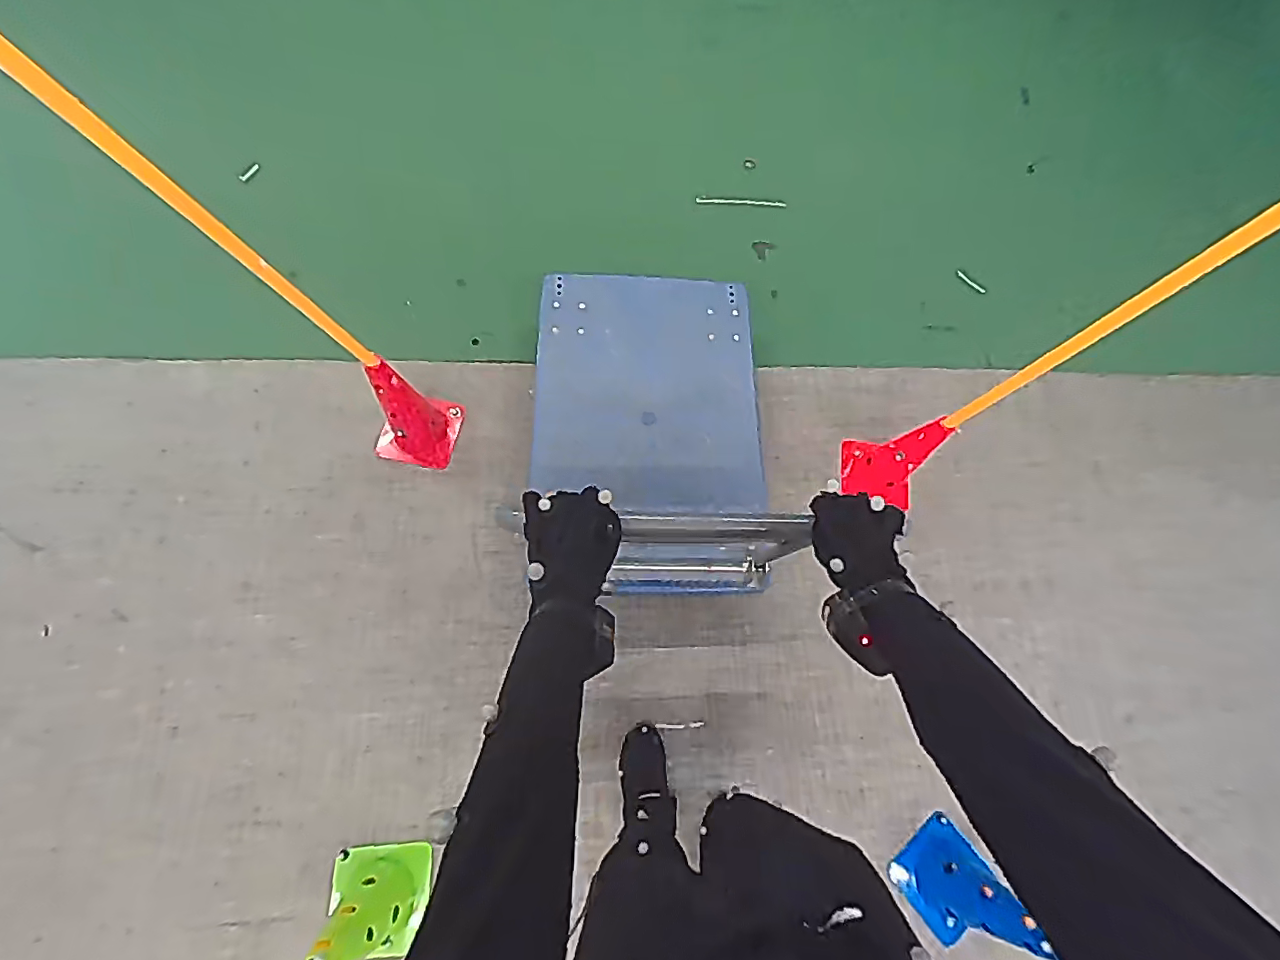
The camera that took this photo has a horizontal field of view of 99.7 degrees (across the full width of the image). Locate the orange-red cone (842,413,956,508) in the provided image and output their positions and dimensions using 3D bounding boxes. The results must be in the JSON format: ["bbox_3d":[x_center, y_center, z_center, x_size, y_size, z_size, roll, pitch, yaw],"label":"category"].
[{"bbox_3d":[0.691,-0.078,1.391,0.198,0.360,0.199,10,71,0],"label":"orange-red cone"}]
